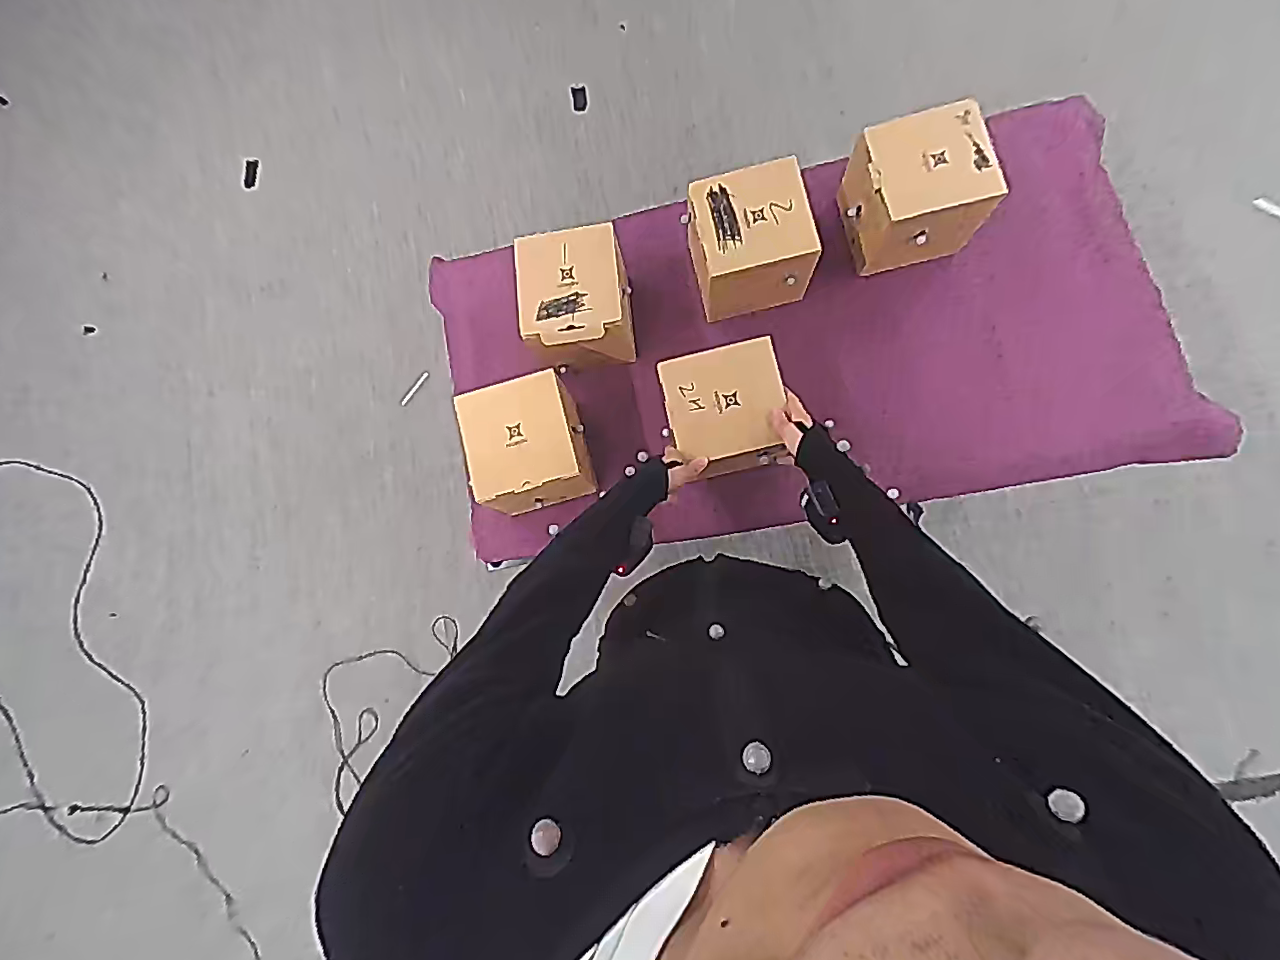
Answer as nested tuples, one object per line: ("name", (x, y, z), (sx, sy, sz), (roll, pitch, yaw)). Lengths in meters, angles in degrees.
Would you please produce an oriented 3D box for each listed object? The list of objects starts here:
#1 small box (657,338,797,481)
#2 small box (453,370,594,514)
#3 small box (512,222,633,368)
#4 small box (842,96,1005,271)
("small box", (0.133, -0.103, 0.867), (0.179, 0.176, 0.168), (-13, 80, 5))
("small box", (-0.184, -0.054, 0.895), (0.168, 0.176, 0.179), (-16, 80, 2))
("small box", (-0.108, -0.303, 0.928), (0.168, 0.176, 0.179), (-7, 80, 5))
("small box", (0.445, -0.470, 0.887), (0.179, 0.176, 0.168), (-13, 82, 6))
